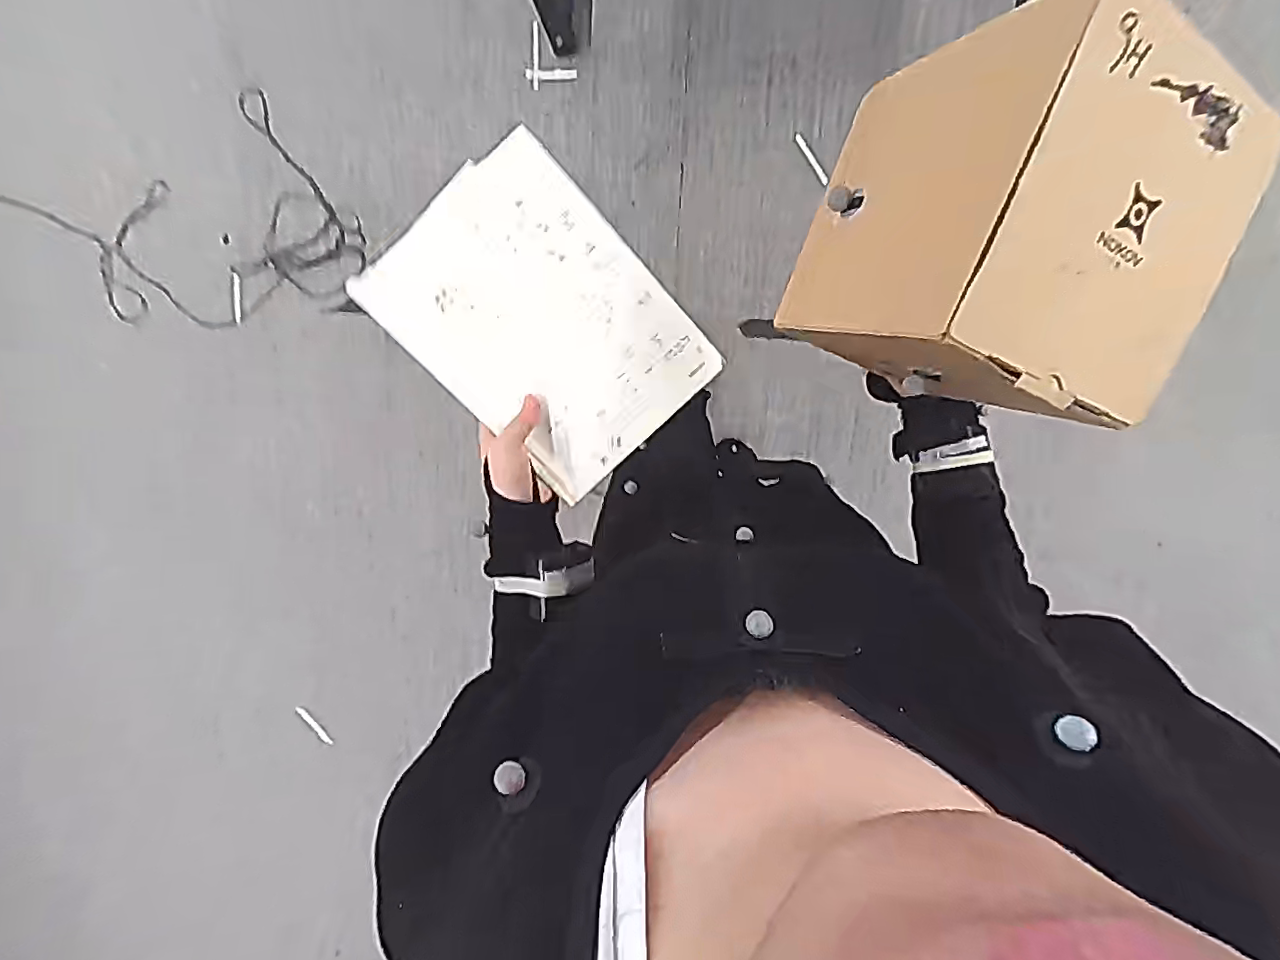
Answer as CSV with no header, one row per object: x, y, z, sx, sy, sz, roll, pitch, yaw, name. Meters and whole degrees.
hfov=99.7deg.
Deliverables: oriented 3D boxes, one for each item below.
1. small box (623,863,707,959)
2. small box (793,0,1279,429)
0.055,1.031,1.241,0.168,0.176,0.179,11,98,6,small box
0.229,-0.154,0.354,0.168,0.176,0.179,16,102,-21,small box
